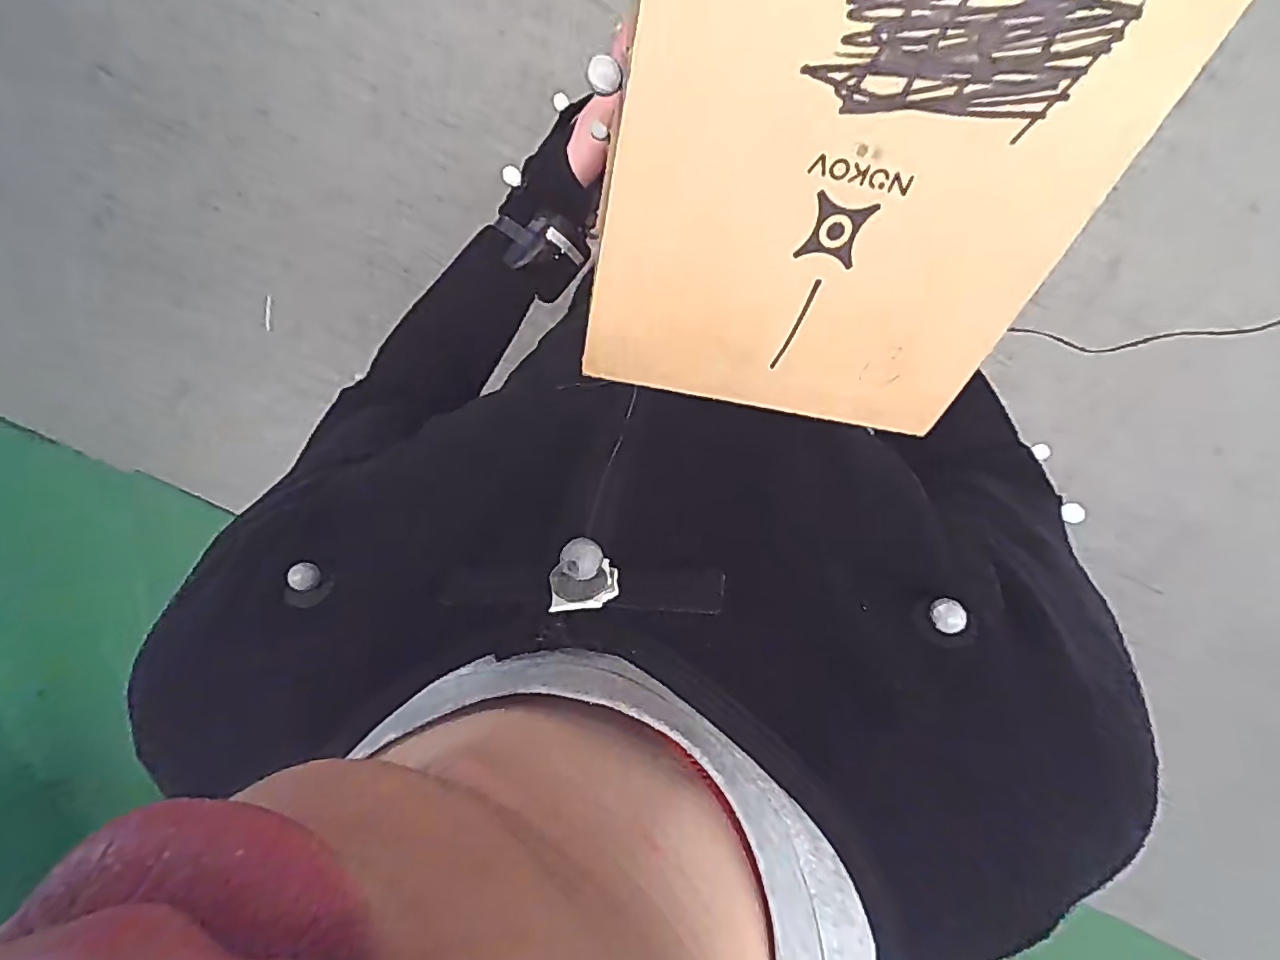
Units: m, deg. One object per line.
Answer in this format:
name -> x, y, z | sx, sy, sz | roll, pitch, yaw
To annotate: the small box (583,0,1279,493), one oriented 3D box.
small box -> 0.071, -0.122, 0.241 | 0.168, 0.176, 0.179 | 9, 135, -8
